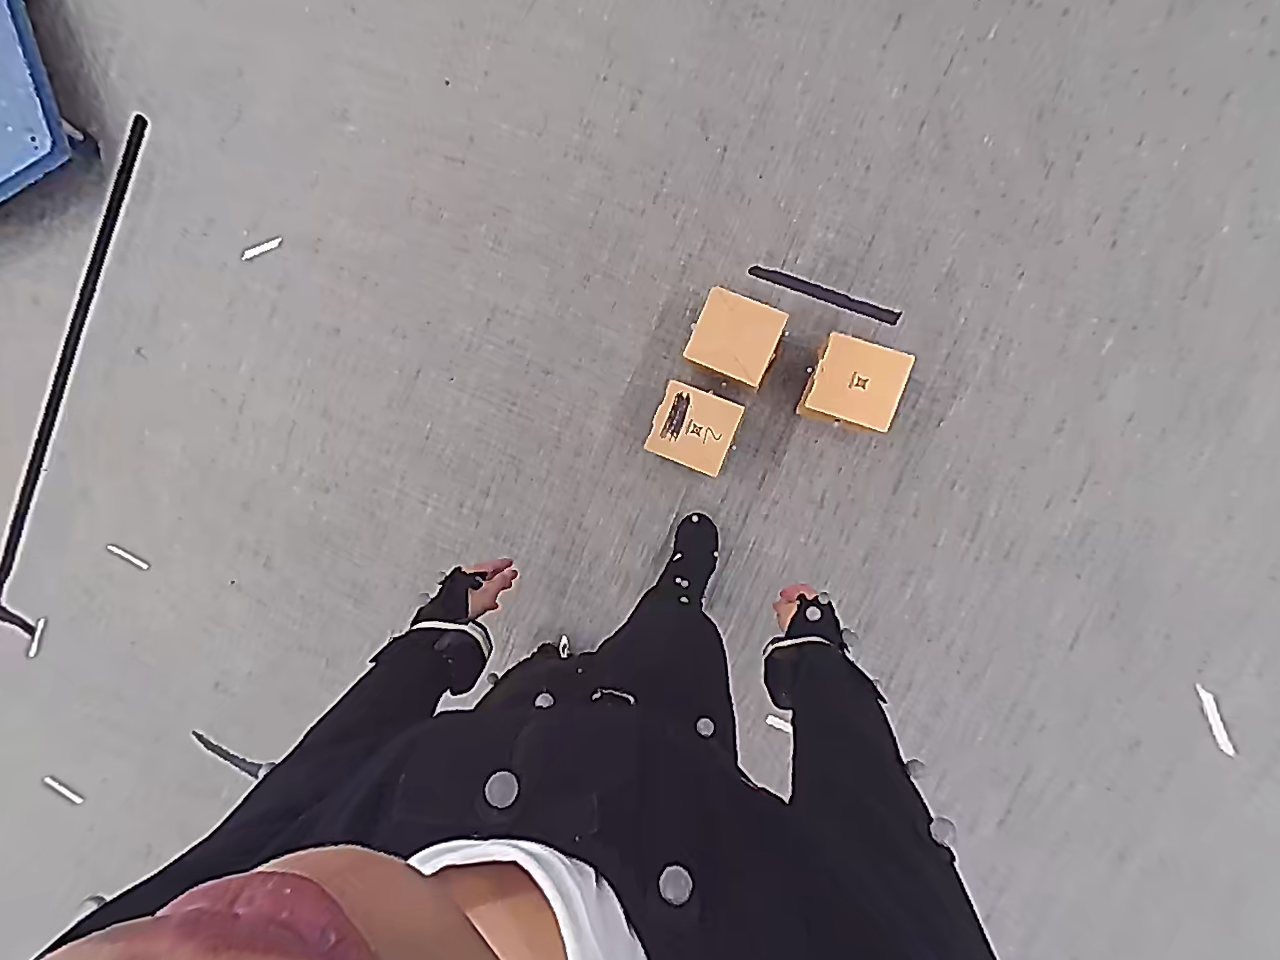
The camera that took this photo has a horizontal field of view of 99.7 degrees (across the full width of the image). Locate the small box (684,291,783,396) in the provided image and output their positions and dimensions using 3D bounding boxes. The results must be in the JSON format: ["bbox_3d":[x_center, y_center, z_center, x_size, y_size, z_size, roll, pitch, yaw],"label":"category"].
[{"bbox_3d":[0.213,-0.304,1.228,0.179,0.176,0.168,25,96,8],"label":"small box"}]

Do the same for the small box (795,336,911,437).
[{"bbox_3d":[0.460,-0.199,1.196,0.179,0.176,0.168,20,95,9],"label":"small box"}]
